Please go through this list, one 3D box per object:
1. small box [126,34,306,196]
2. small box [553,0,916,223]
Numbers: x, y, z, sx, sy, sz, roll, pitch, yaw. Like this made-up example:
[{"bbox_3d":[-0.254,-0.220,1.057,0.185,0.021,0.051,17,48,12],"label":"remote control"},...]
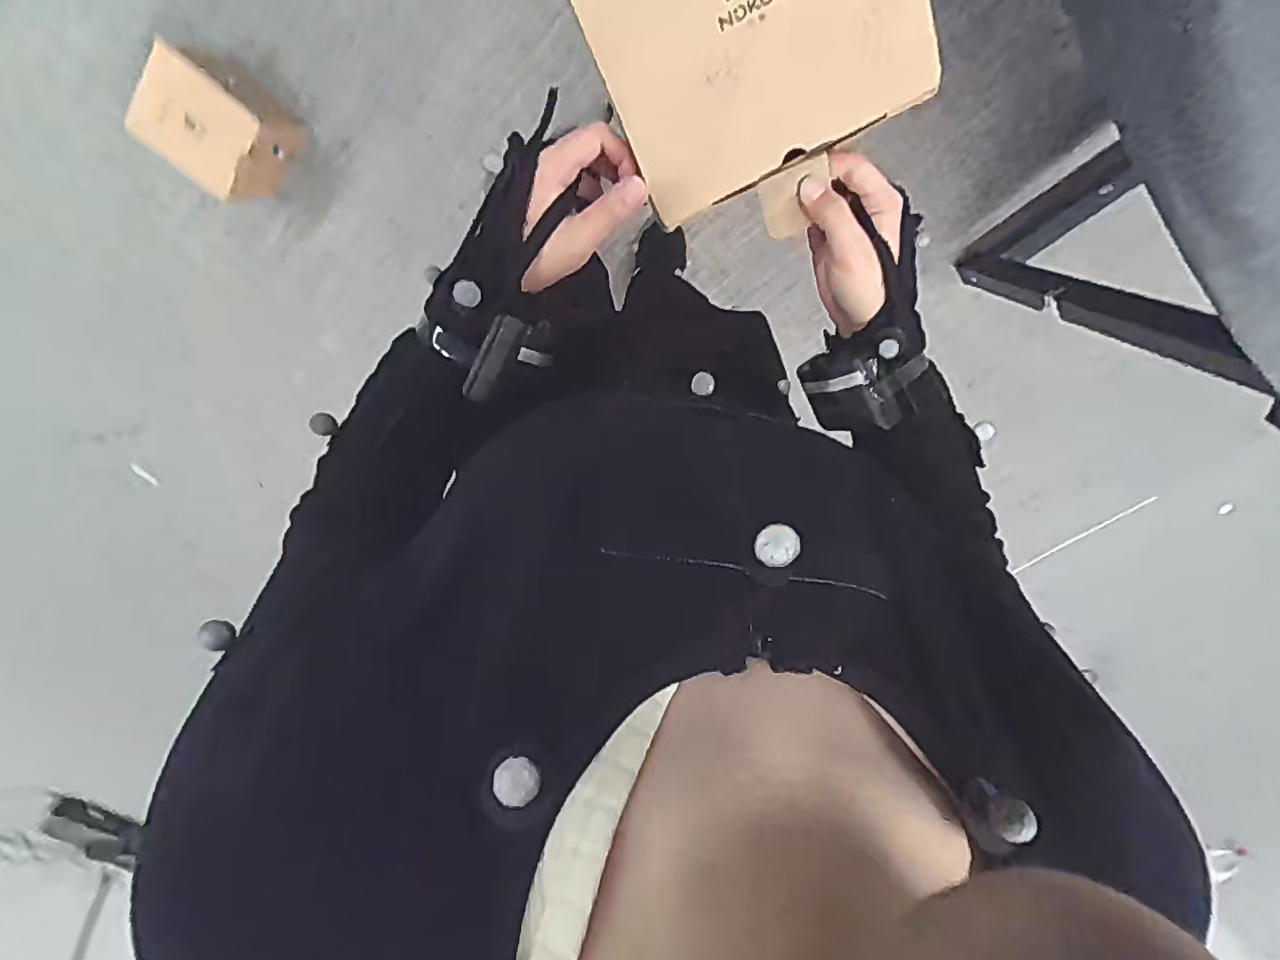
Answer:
[{"bbox_3d":[-0.761,-0.657,0.990,0.179,0.176,0.168,39,112,-20],"label":"small box"},{"bbox_3d":[0.043,-0.292,0.346,0.168,0.176,0.179,-24,115,11],"label":"small box"}]
